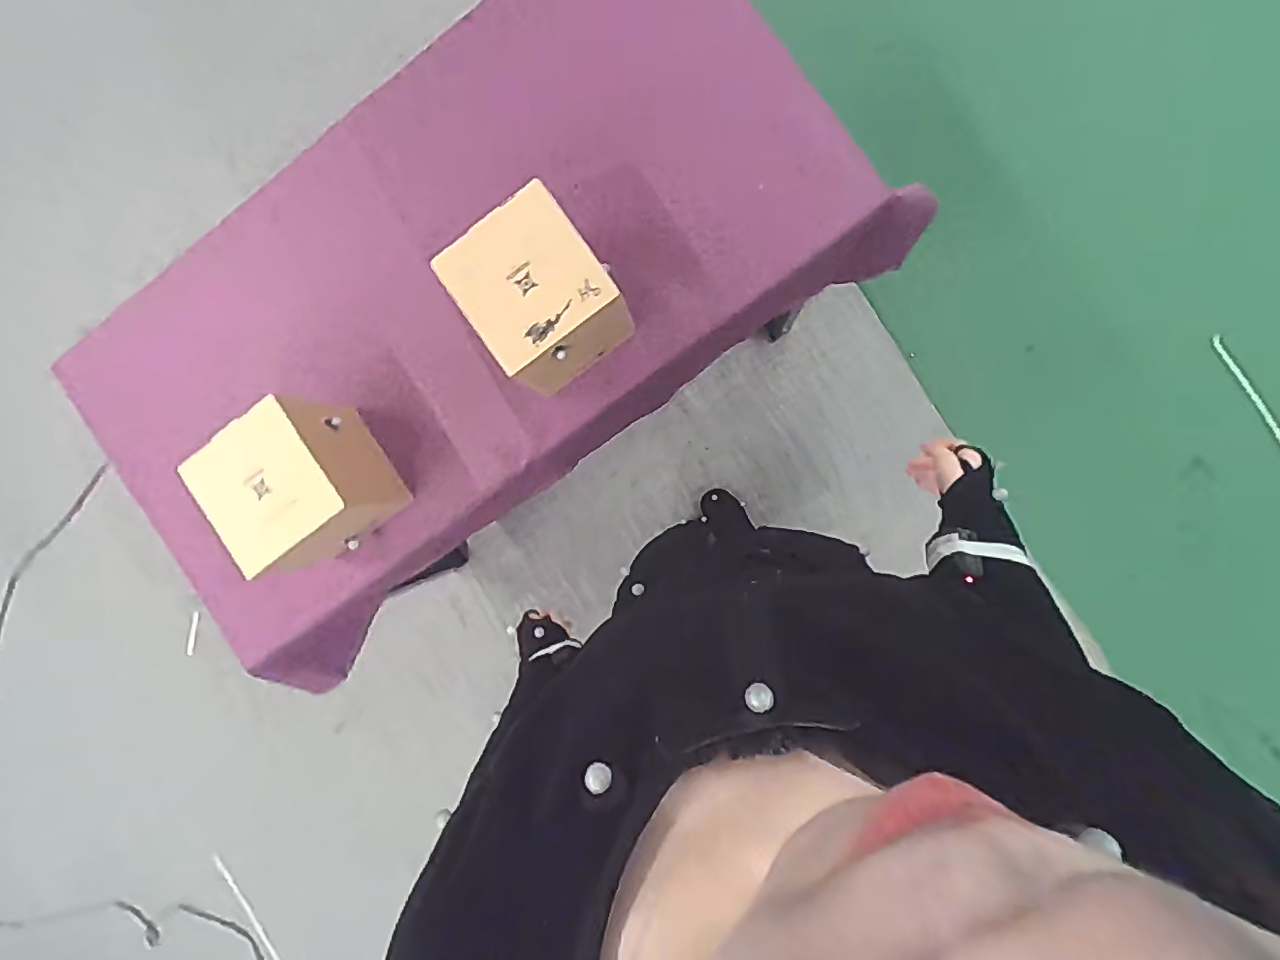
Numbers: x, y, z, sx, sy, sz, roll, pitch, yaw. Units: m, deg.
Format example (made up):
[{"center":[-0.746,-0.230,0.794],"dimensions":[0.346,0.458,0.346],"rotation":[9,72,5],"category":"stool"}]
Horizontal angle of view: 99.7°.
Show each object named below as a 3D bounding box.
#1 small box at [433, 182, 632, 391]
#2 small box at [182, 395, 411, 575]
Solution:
[{"center":[-0.130,-0.240,0.720],"dimensions":[0.168,0.176,0.179],"rotation":[-36,86,7],"category":"small box"},{"center":[-0.468,0.007,0.762],"dimensions":[0.168,0.176,0.179],"rotation":[-35,88,6],"category":"small box"}]
